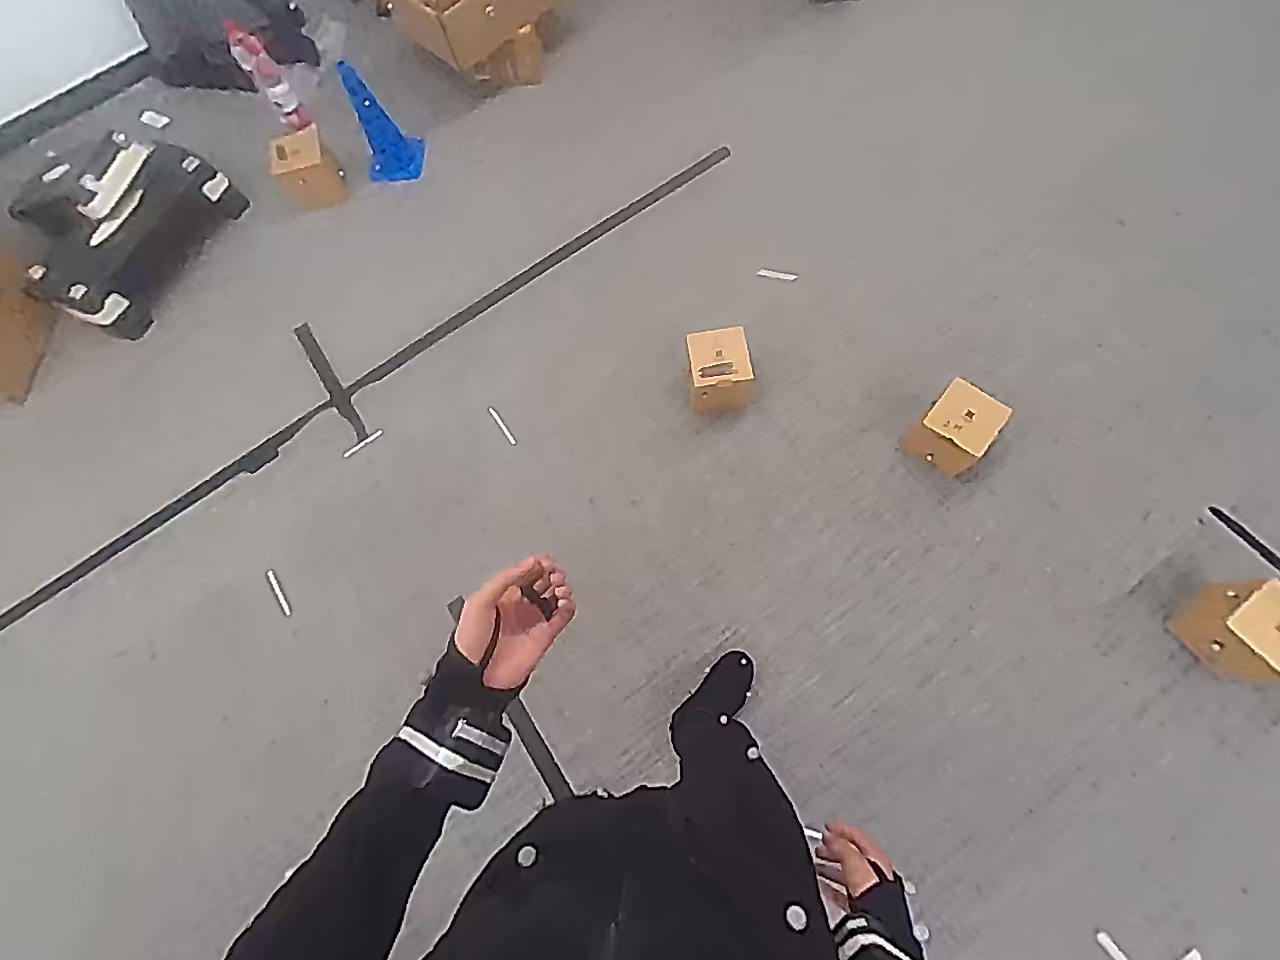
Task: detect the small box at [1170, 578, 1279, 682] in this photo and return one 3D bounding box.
[{"bbox_3d":[1.432,0.360,1.282,0.179,0.176,0.168,-37,73,-8],"label":"small box"}]

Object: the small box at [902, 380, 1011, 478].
[{"bbox_3d":[0.858,-0.136,1.487,0.168,0.176,0.179,38,79,15],"label":"small box"}]
